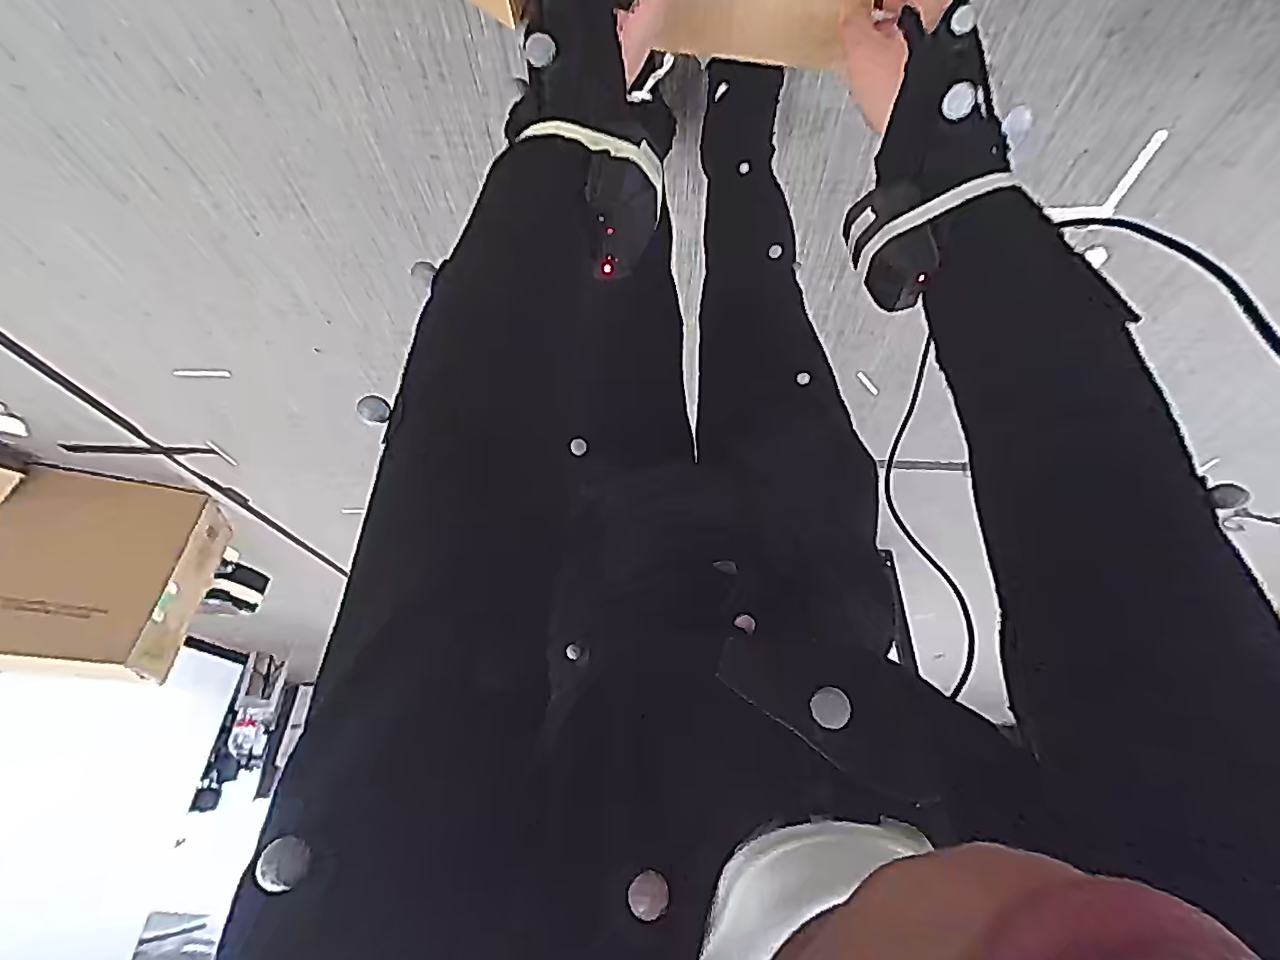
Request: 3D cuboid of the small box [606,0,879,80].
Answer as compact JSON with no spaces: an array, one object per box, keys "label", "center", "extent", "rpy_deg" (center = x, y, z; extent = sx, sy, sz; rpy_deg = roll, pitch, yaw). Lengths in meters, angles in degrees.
[{"label":"small box","center":[0.073,-0.401,0.363],"extent":[0.179,0.176,0.168],"rpy_deg":[4,140,-6]}]
